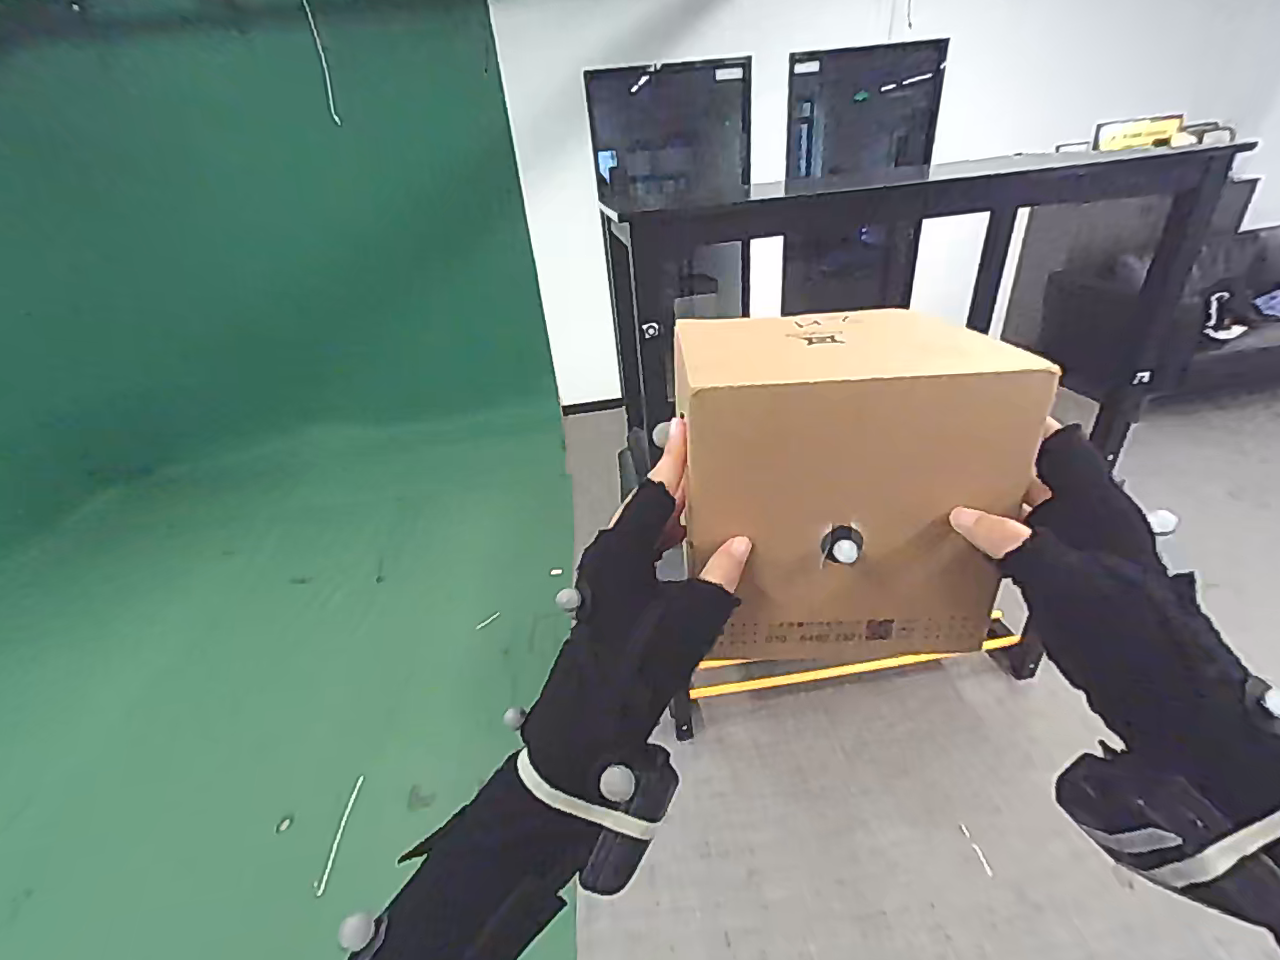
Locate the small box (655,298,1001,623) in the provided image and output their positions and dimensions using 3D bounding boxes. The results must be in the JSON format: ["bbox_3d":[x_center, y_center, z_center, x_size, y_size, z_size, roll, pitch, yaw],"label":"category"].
[{"bbox_3d":[0.098,-0.019,0.363,0.168,0.176,0.179,-2,25,3],"label":"small box"}]
